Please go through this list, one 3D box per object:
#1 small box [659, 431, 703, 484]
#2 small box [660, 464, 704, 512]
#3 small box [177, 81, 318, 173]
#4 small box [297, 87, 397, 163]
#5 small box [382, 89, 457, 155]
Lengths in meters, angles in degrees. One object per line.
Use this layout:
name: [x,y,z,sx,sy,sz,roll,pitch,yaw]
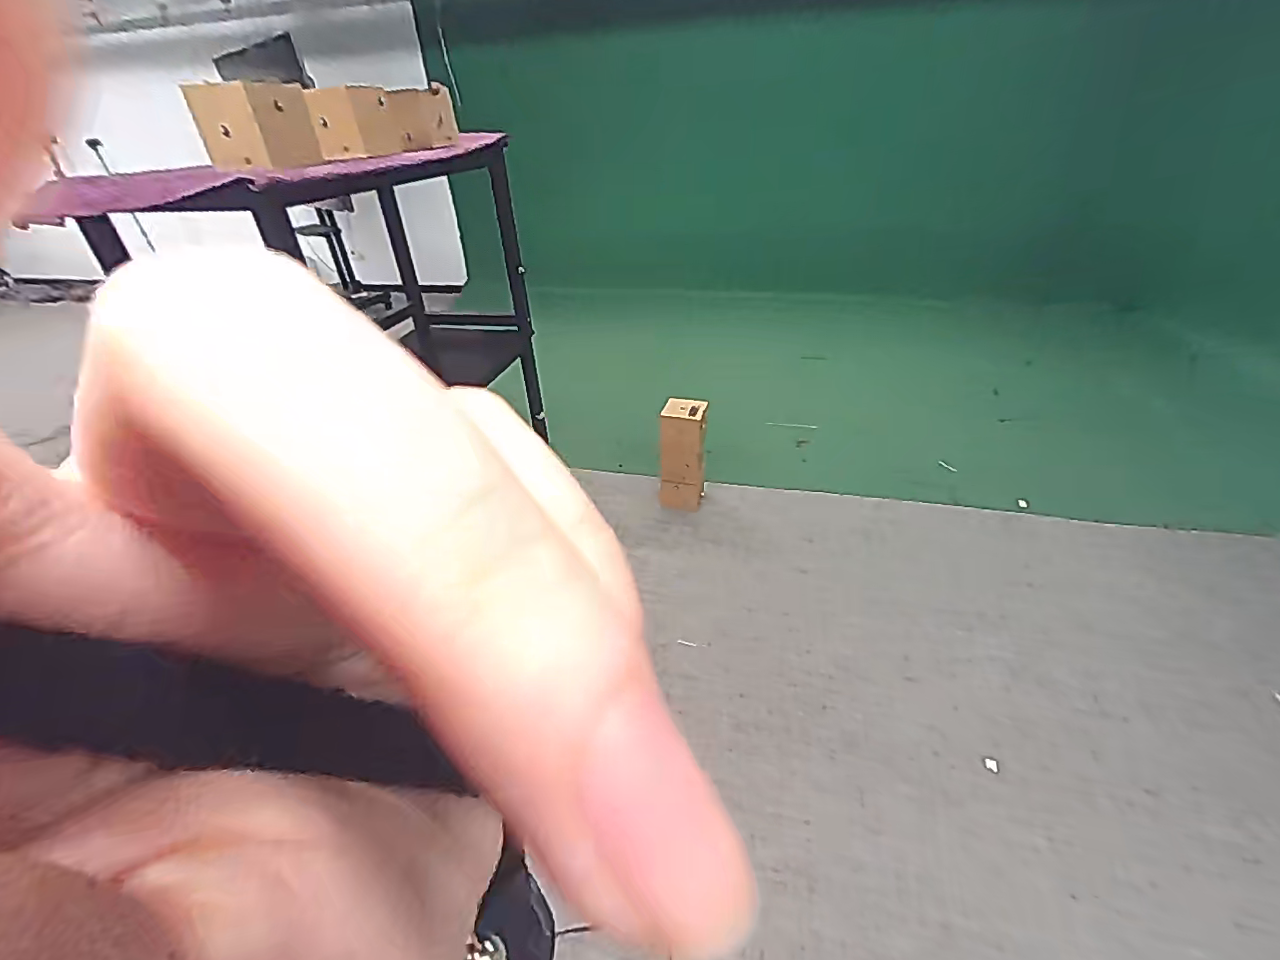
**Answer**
small box: [0.187,-0.099,2.427,0.168,0.176,0.179,8,35,13]
small box: [0.197,0.030,2.524,0.179,0.176,0.168,8,36,15]
small box: [-0.893,-0.813,1.252,0.168,0.176,0.179,6,35,11]
small box: [-0.832,-1.013,1.549,0.168,0.176,0.179,4,34,13]
small box: [-0.754,-1.218,1.838,0.179,0.176,0.168,8,37,19]
